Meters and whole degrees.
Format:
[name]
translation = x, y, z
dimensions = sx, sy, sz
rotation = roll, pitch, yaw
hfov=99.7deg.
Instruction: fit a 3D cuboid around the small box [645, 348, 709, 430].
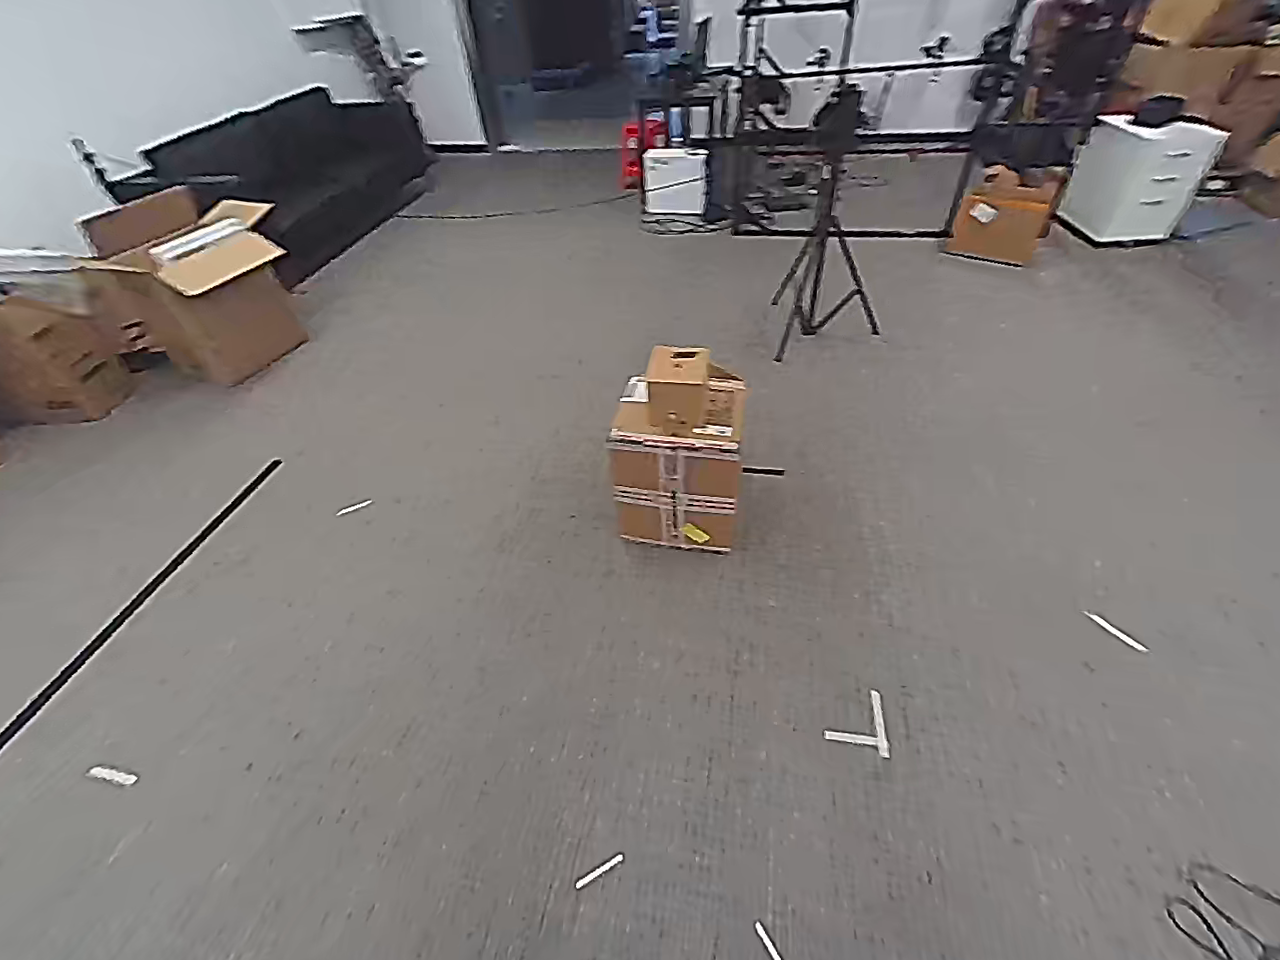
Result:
[small box]
translation = 0.114, -0.273, 1.612
dimensions = 0.168, 0.176, 0.179
rotation = 4, 49, 11
